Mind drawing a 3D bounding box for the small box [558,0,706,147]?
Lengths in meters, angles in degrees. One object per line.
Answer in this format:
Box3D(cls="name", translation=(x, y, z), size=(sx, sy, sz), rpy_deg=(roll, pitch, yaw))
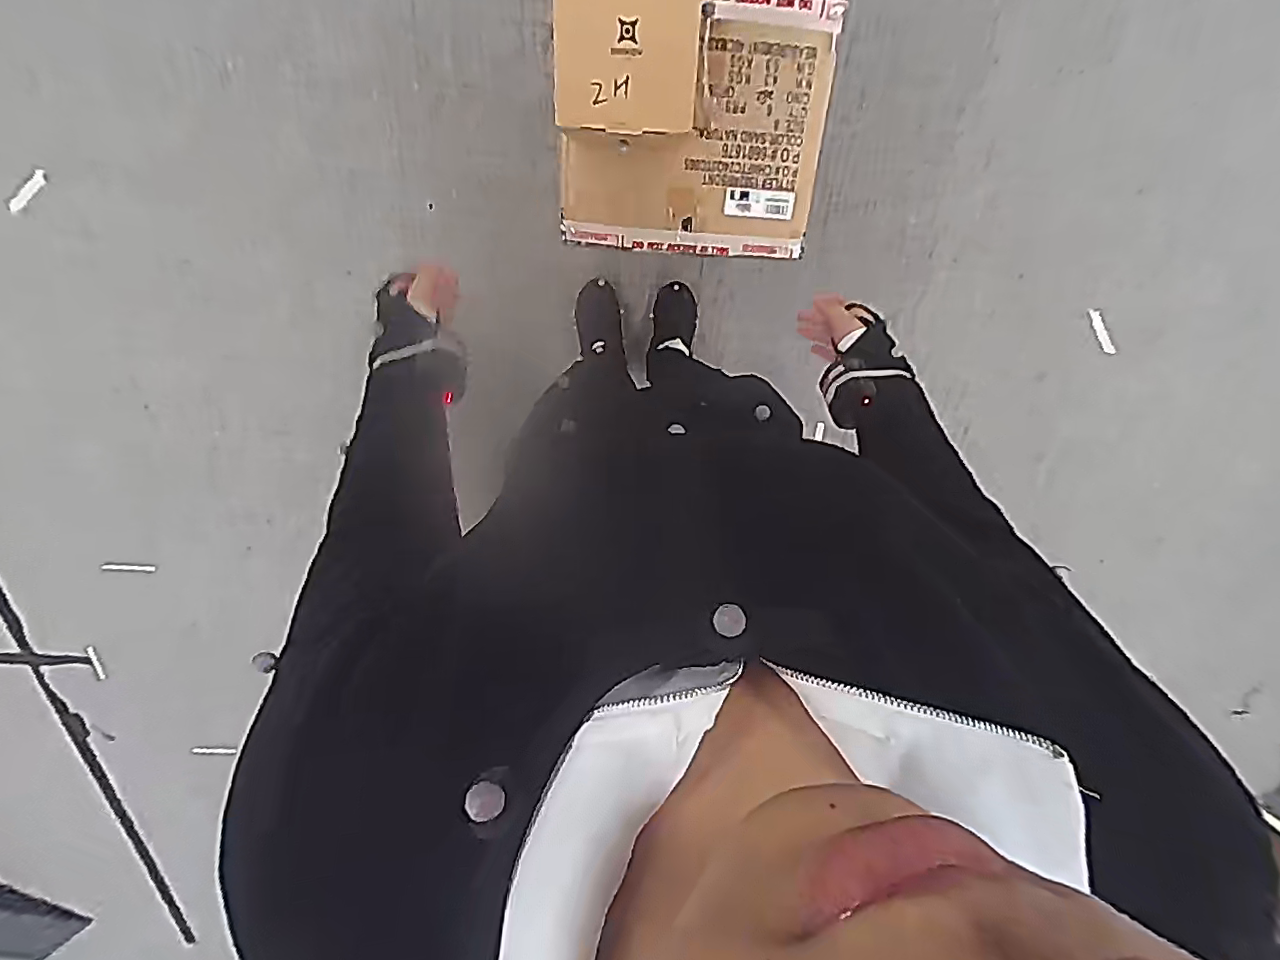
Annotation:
Box3D(cls="small box", translation=(-0.012, -0.533, 0.681), size=(0.168, 0.176, 0.179), rpy_deg=(2, 118, -1))
